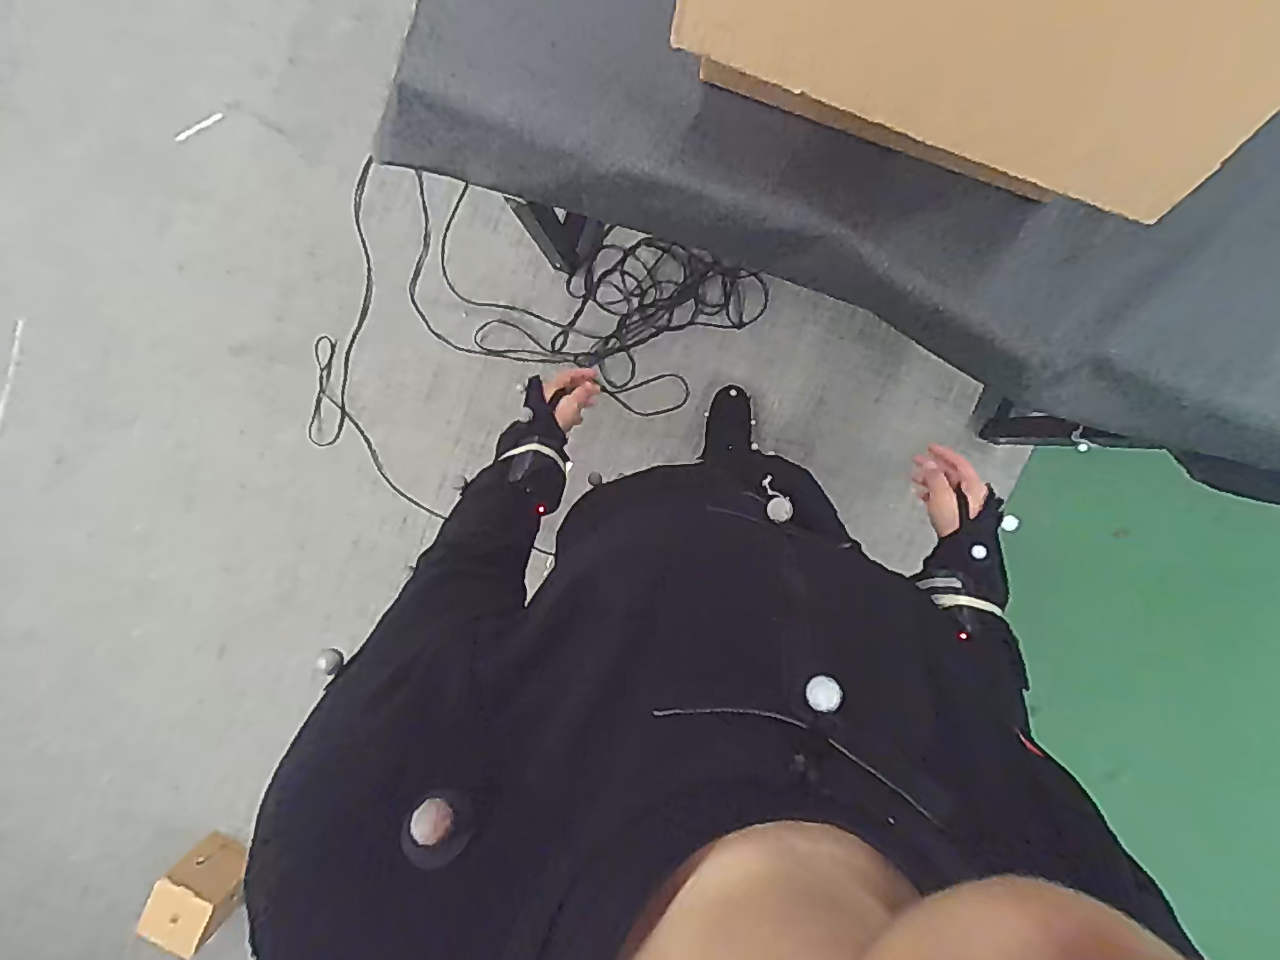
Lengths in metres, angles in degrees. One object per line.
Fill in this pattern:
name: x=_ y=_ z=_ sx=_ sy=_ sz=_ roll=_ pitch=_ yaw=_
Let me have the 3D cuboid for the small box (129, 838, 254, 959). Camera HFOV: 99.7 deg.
small box: x=-1.177 y=1.106 z=1.435 sx=0.168 sy=0.176 sz=0.179 roll=26 pitch=96 yaw=2
